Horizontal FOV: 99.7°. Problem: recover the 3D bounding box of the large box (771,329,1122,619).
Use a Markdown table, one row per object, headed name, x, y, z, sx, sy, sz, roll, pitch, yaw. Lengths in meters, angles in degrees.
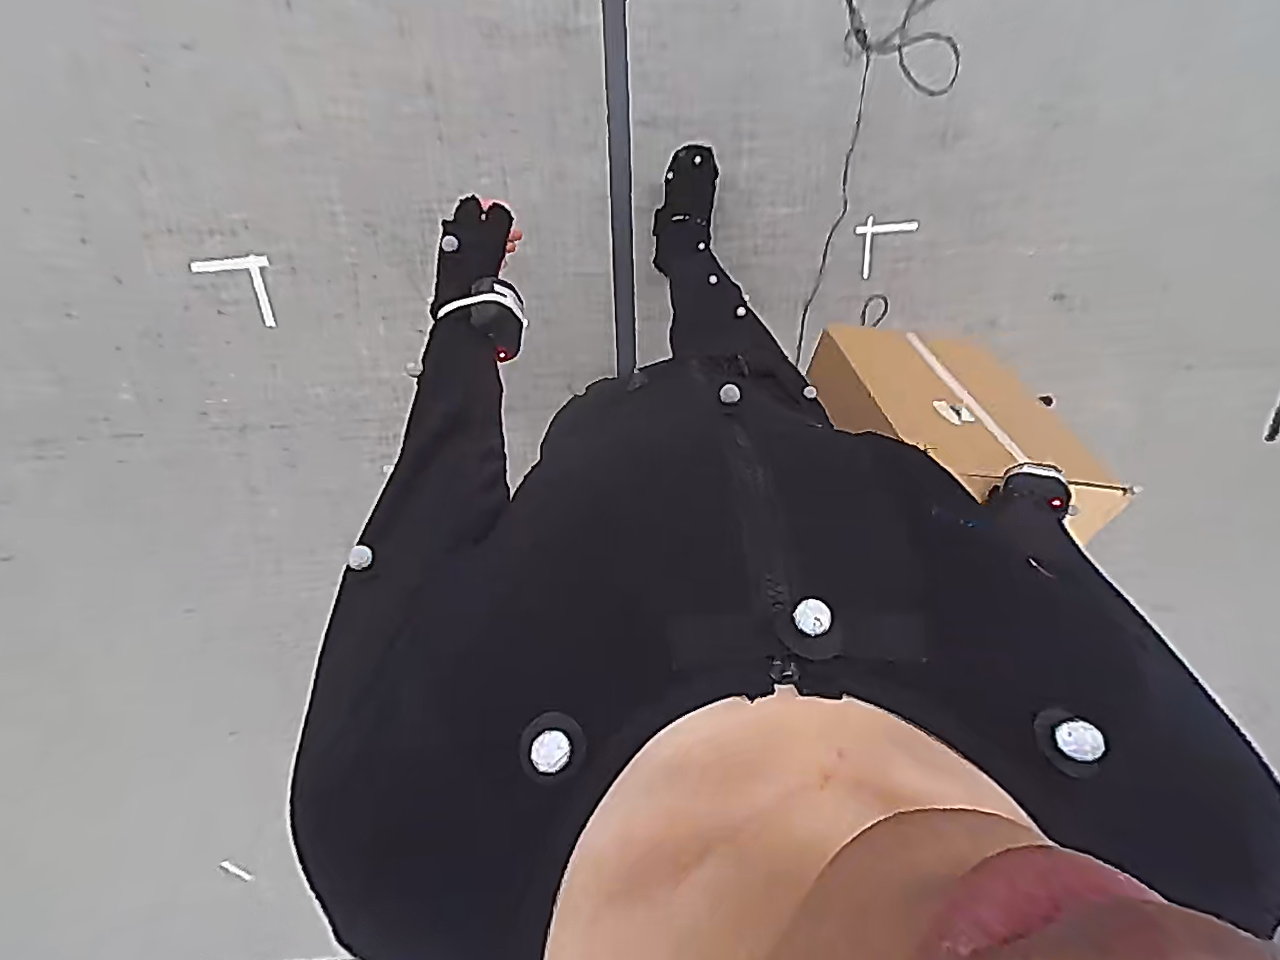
| name | x | y | z | sx | sy | sz | roll | pitch | yaw |
| --- | --- | --- | --- | --- | --- | --- | --- | --- | --- |
| large box | 0.469 | -0.017 | 0.952 | 0.320 | 0.408 | 0.320 | 5 | 131 | -9 |
